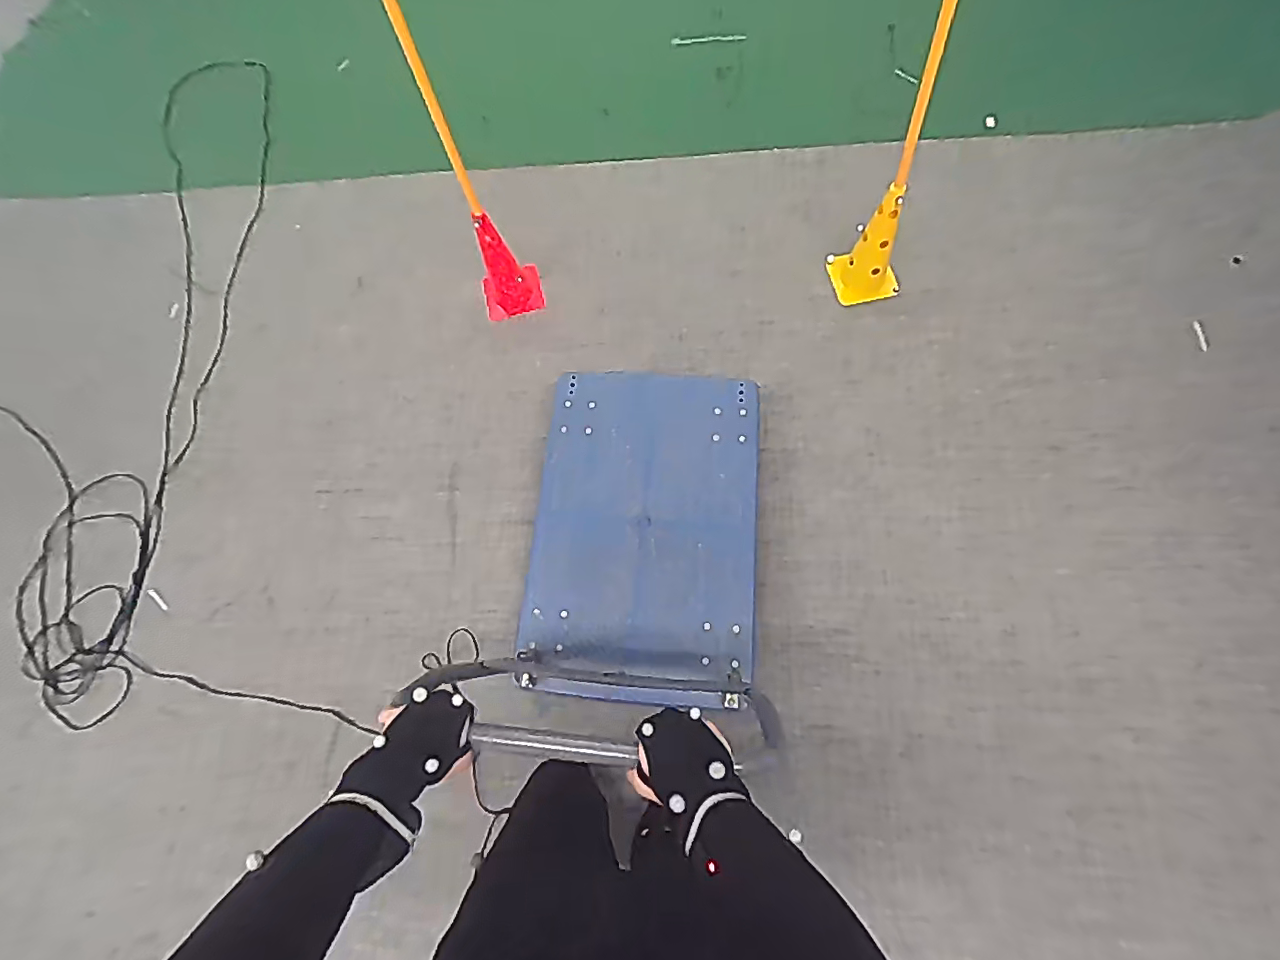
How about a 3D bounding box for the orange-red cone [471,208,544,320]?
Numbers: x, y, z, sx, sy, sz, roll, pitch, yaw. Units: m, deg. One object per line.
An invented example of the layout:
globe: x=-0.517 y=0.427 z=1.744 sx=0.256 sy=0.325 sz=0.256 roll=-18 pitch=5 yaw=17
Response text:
orange-red cone: x=-0.458 y=-0.715 z=1.733 sx=0.199 sy=0.360 sz=0.198 roll=-15 pitch=69 yaw=1
